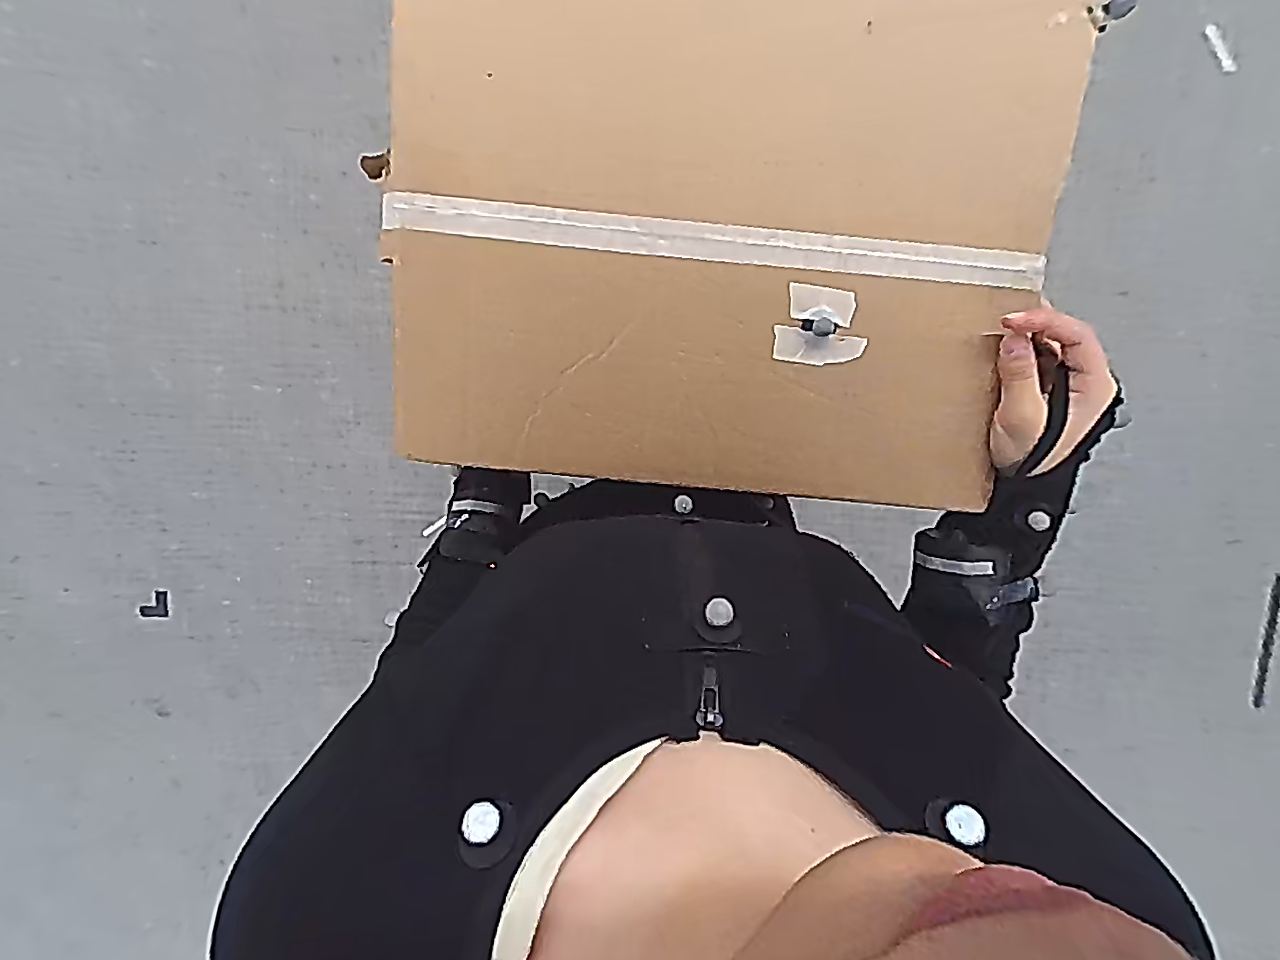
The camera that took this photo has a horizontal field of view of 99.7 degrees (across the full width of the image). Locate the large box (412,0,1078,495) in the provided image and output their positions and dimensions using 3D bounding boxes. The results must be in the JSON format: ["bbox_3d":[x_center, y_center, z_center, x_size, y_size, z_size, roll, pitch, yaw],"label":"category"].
[{"bbox_3d":[0.051,-0.180,0.491,0.408,0.320,0.320,4,103,-2],"label":"large box"}]
